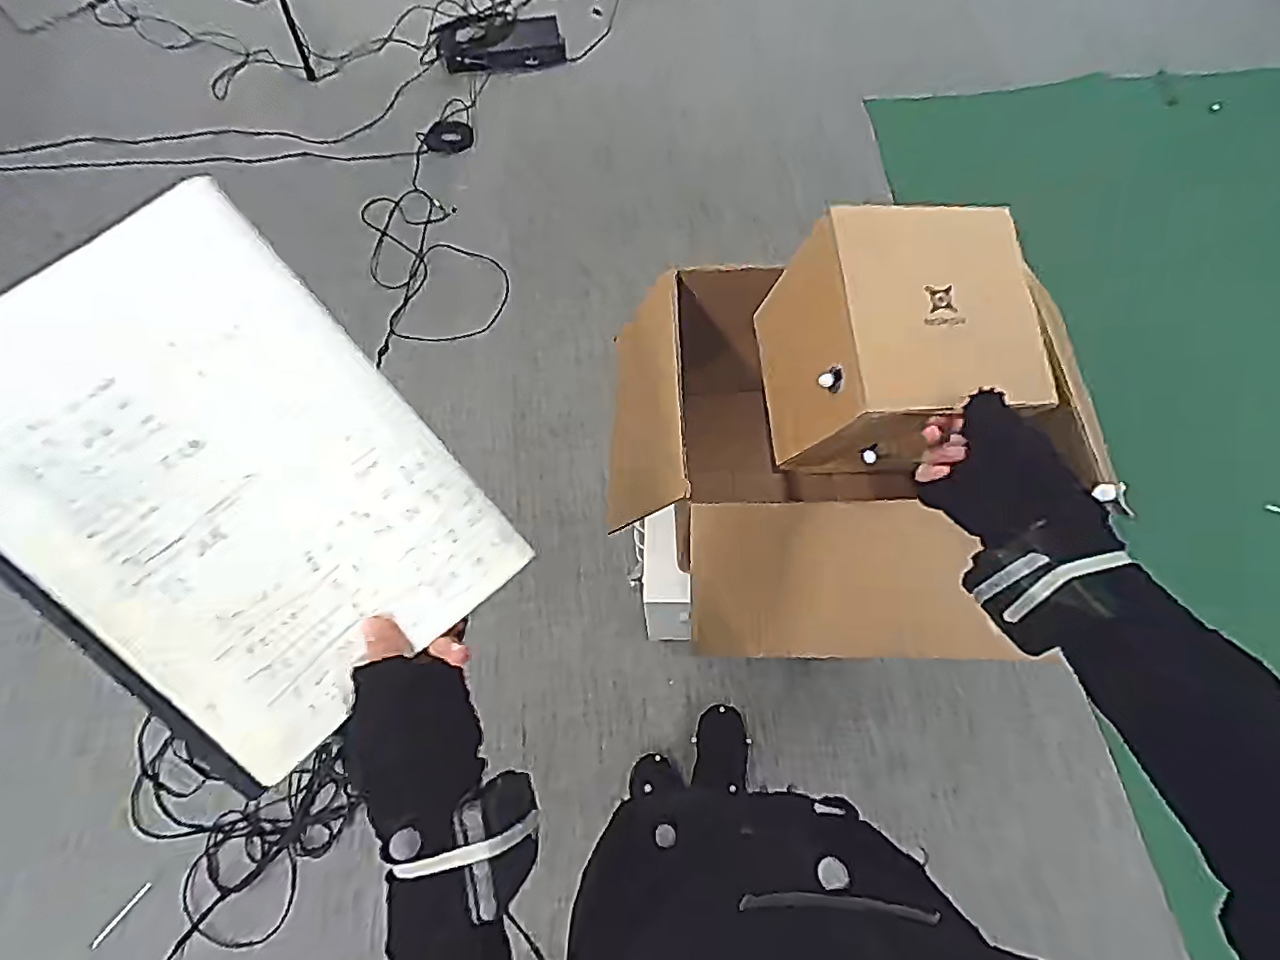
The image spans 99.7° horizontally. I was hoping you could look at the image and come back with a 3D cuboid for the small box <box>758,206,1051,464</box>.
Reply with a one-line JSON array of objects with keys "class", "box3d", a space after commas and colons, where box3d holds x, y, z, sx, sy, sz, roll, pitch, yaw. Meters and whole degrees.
[{"class": "small box", "box3d": [0.223, -0.123, 0.507, 0.168, 0.176, 0.179, -4, 79, -10]}]
